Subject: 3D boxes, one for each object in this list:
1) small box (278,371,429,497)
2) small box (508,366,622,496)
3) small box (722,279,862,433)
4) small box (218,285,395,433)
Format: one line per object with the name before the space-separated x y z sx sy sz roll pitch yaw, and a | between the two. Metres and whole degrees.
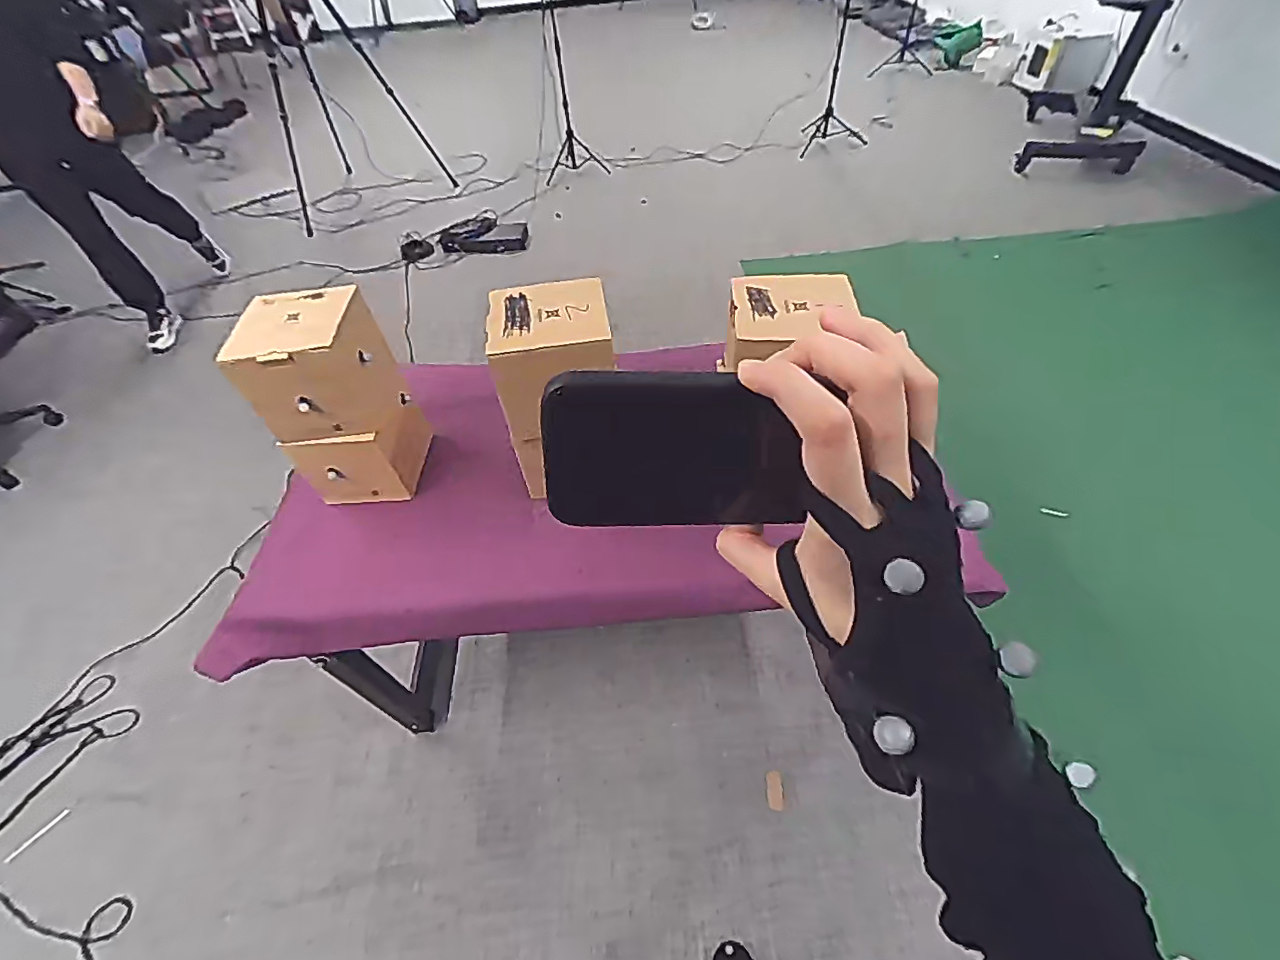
small box | -0.513 -0.079 1.003 0.168 0.176 0.179 -3 50 2
small box | -0.123 -0.085 0.977 0.179 0.176 0.168 -3 50 2
small box | 0.216 -0.186 0.824 0.179 0.176 0.168 2 50 5
small box | -0.523 -0.190 0.883 0.168 0.176 0.179 -6 51 -2
